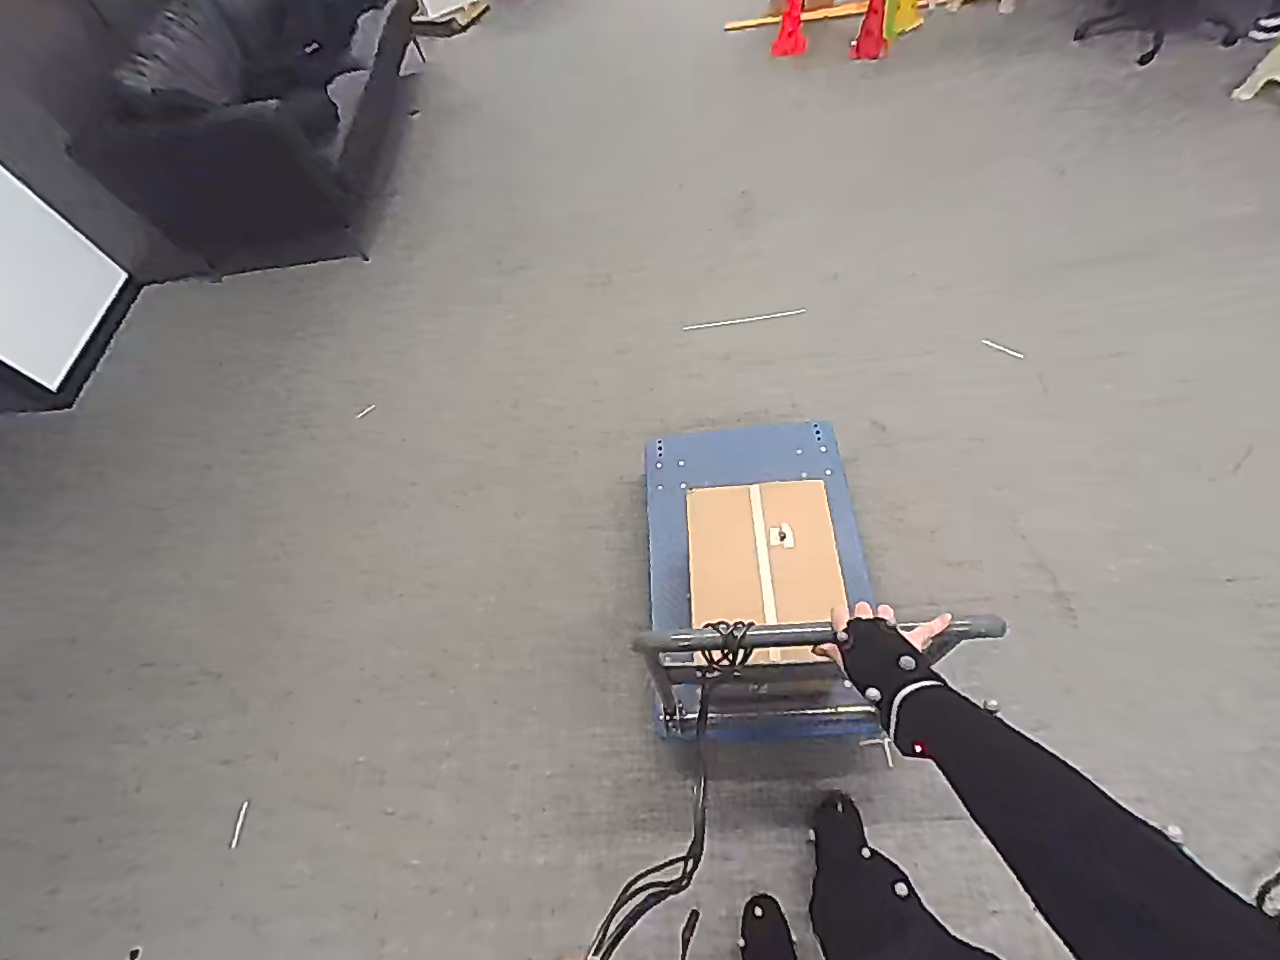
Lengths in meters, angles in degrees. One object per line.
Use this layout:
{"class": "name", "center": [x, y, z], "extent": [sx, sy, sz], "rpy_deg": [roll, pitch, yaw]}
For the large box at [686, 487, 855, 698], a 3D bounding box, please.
{"class": "large box", "center": [0.284, 0.275, 1.280], "extent": [0.320, 0.320, 0.408], "rpy_deg": [-4, 58, 7]}
